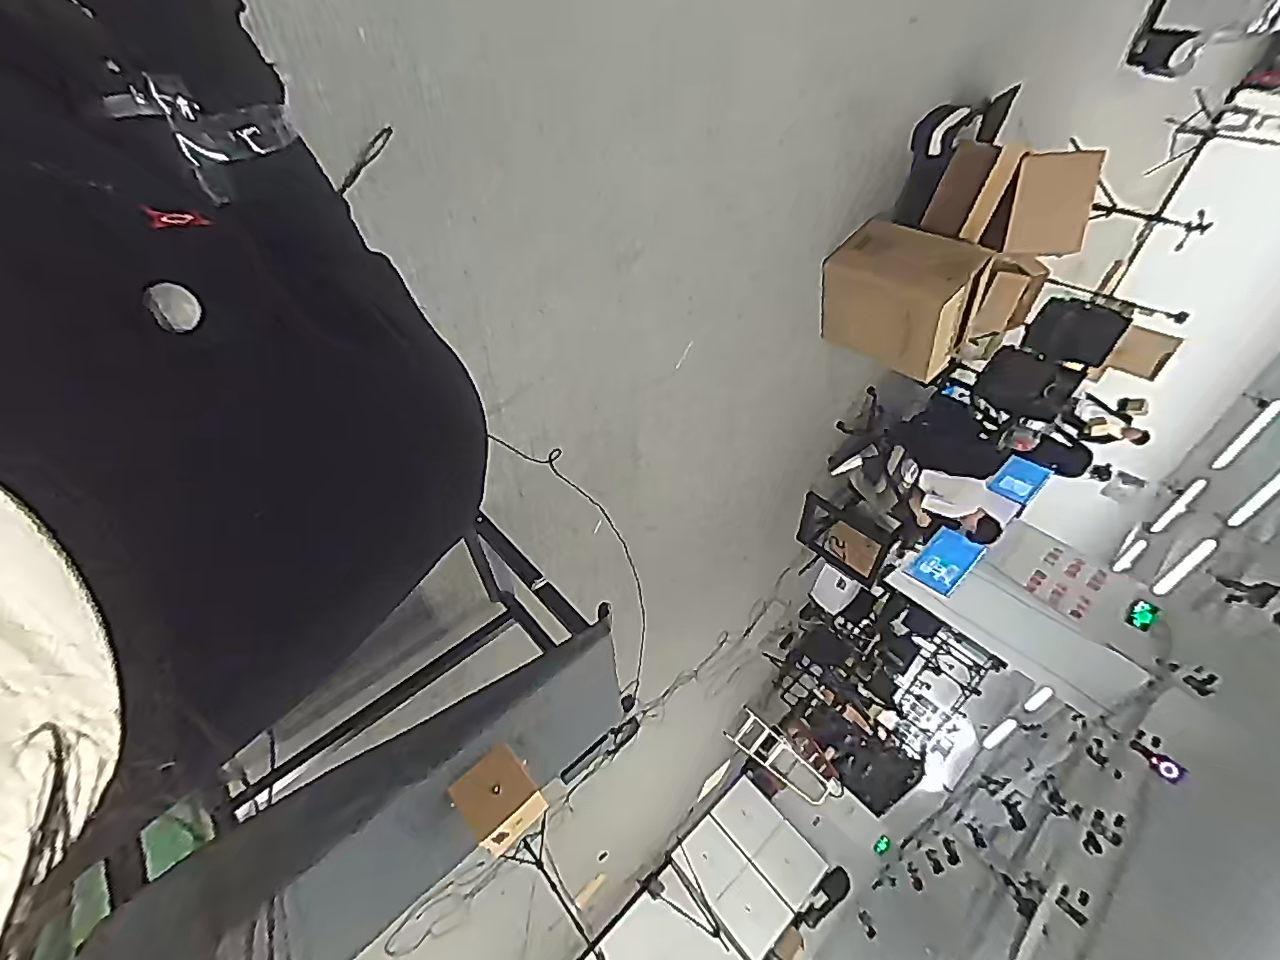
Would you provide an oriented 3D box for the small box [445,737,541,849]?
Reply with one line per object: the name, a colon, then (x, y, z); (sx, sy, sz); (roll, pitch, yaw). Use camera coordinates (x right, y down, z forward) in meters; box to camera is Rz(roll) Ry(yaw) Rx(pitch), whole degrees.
small box: (-0.397, 0.831, 1.441); (0.179, 0.176, 0.168); (-35, 144, -22)
